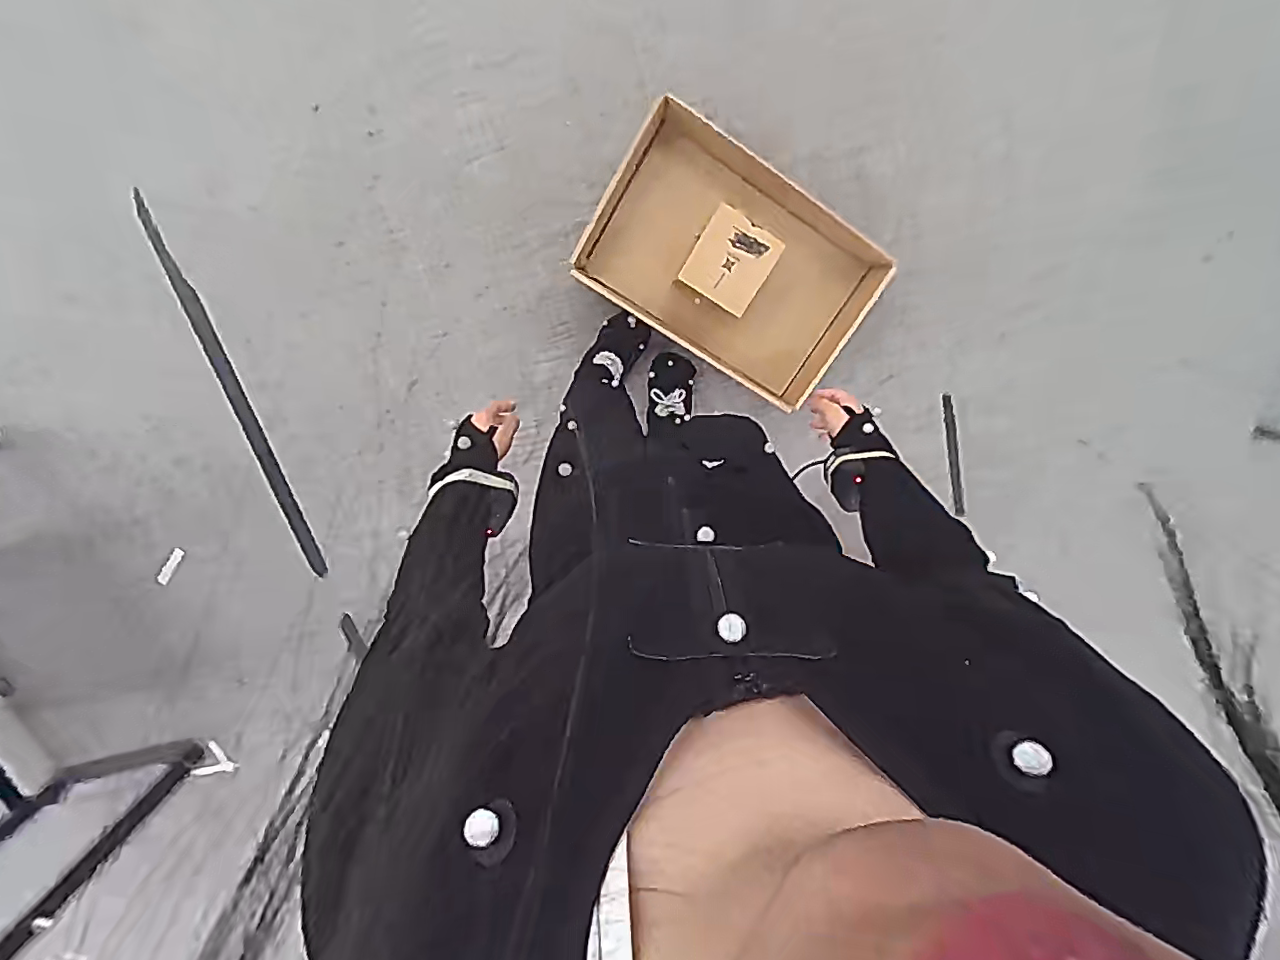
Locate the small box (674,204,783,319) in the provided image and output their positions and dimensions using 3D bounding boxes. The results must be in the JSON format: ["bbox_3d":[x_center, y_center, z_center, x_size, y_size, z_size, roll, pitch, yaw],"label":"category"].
[{"bbox_3d":[0.188,-0.487,1.226,0.168,0.176,0.179,30,106,-10],"label":"small box"}]
